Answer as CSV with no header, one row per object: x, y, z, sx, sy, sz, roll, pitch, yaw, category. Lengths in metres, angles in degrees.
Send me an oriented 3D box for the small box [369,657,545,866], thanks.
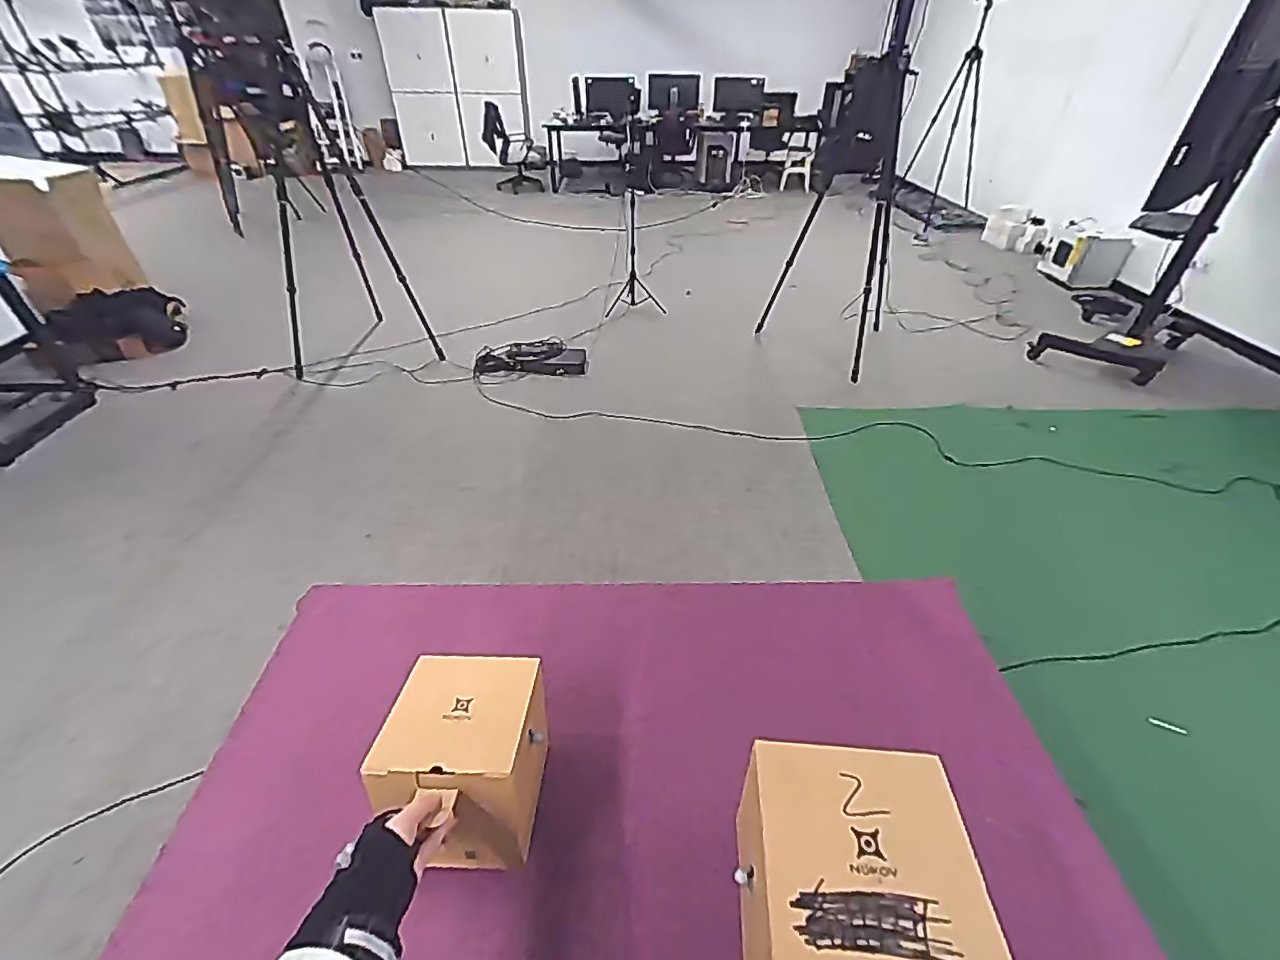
-0.220,0.358,0.704,0.168,0.176,0.179,1,26,1,small box
